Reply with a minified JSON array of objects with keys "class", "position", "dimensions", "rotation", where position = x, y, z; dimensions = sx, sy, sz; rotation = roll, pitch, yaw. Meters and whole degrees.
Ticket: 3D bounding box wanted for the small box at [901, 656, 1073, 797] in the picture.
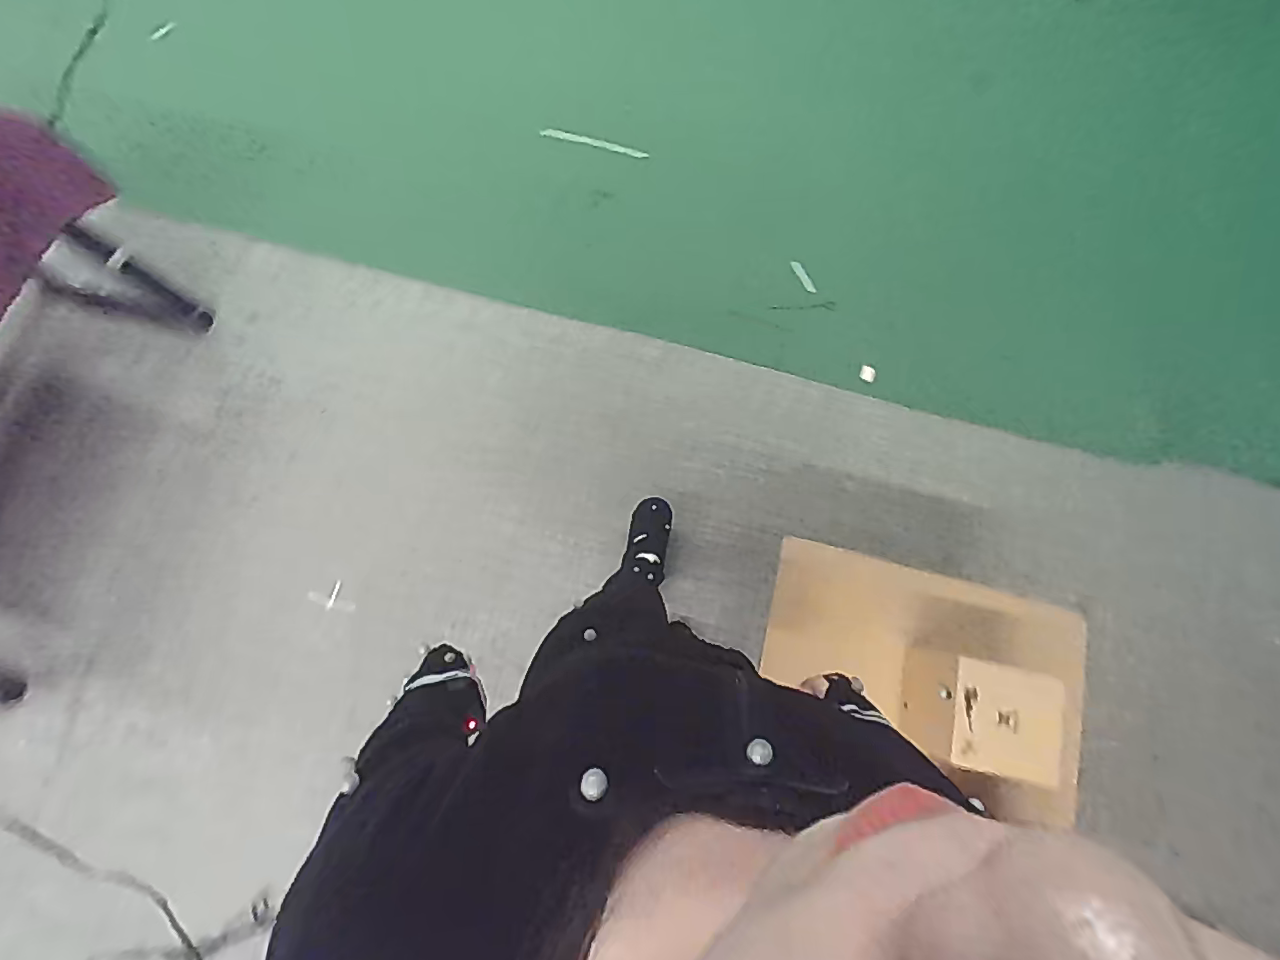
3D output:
[{"class":"small box","position":[0.576,0.402,0.913],"dimensions":[0.179,0.176,0.168],"rotation":[14,76,1]}]
